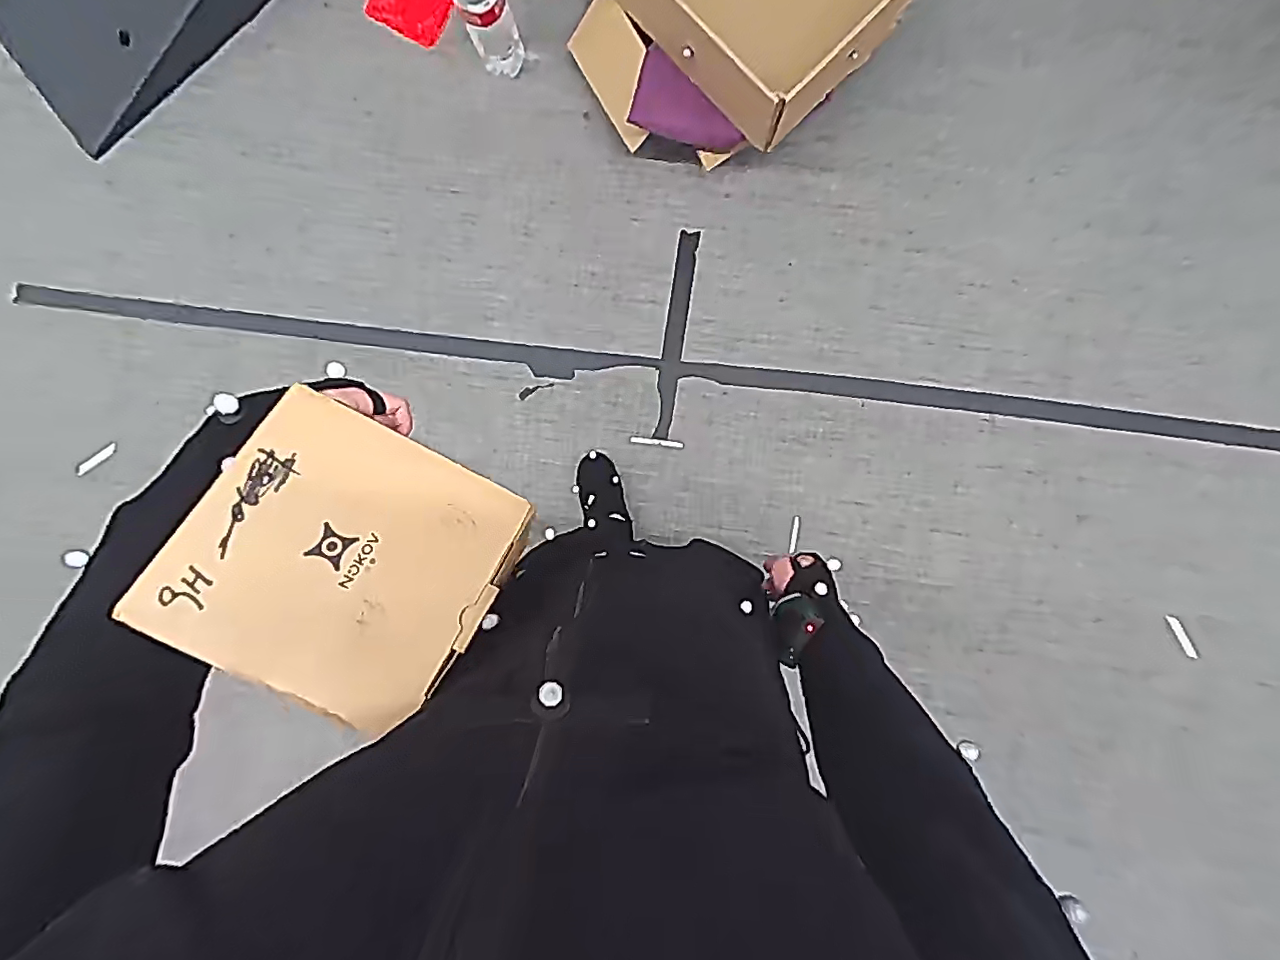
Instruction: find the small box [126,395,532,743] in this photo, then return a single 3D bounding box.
[{"bbox_3d":[-0.202,0.069,0.415,0.179,0.176,0.168,28,70,-6],"label":"small box"}]
